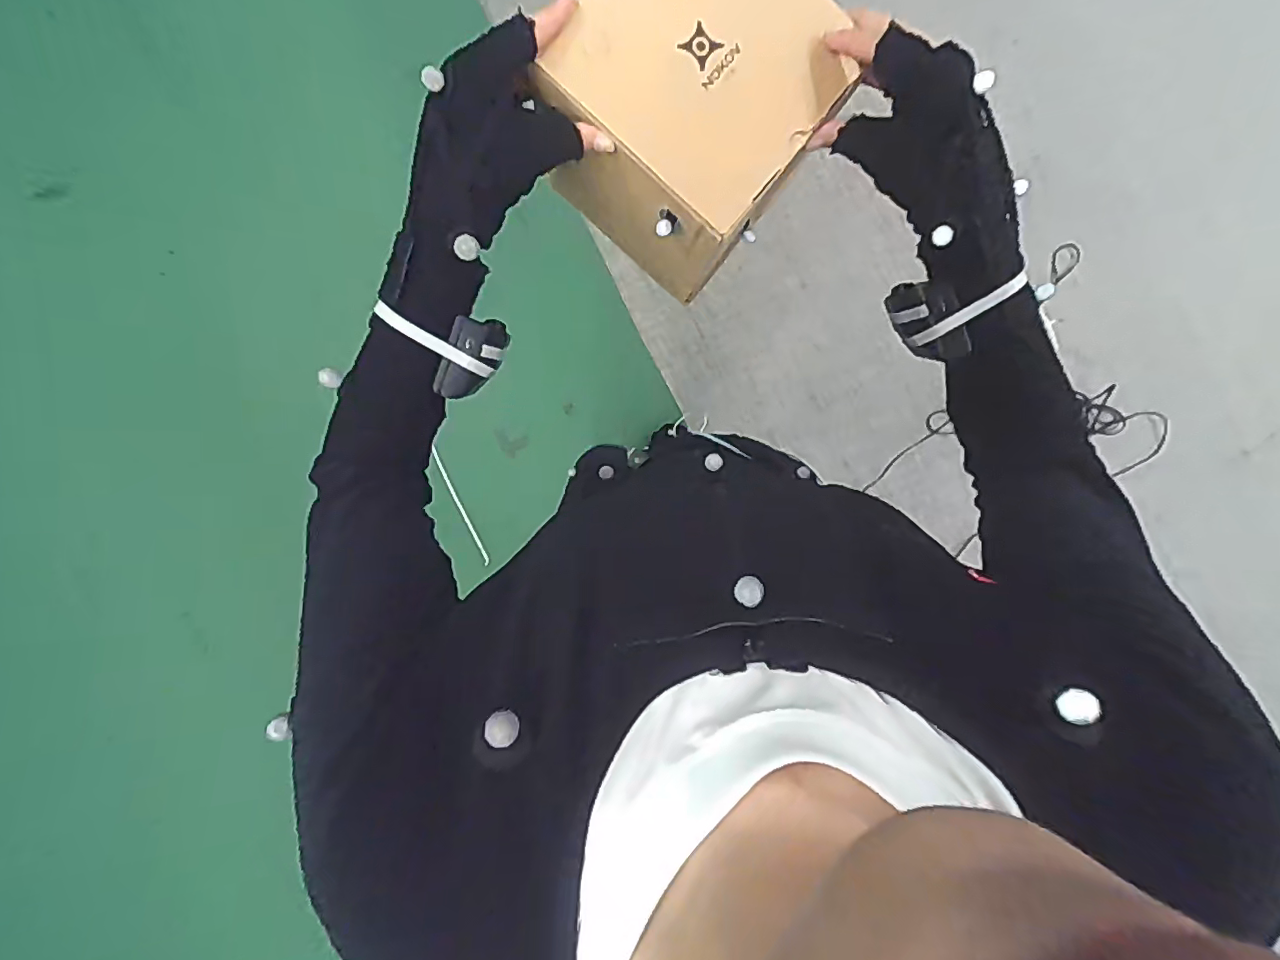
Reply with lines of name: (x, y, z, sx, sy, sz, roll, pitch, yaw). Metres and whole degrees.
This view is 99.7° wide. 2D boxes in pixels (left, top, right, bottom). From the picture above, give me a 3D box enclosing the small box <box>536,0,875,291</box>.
small box: (0.040, -0.287, 0.443, 0.179, 0.176, 0.168, 40, 89, -6)
